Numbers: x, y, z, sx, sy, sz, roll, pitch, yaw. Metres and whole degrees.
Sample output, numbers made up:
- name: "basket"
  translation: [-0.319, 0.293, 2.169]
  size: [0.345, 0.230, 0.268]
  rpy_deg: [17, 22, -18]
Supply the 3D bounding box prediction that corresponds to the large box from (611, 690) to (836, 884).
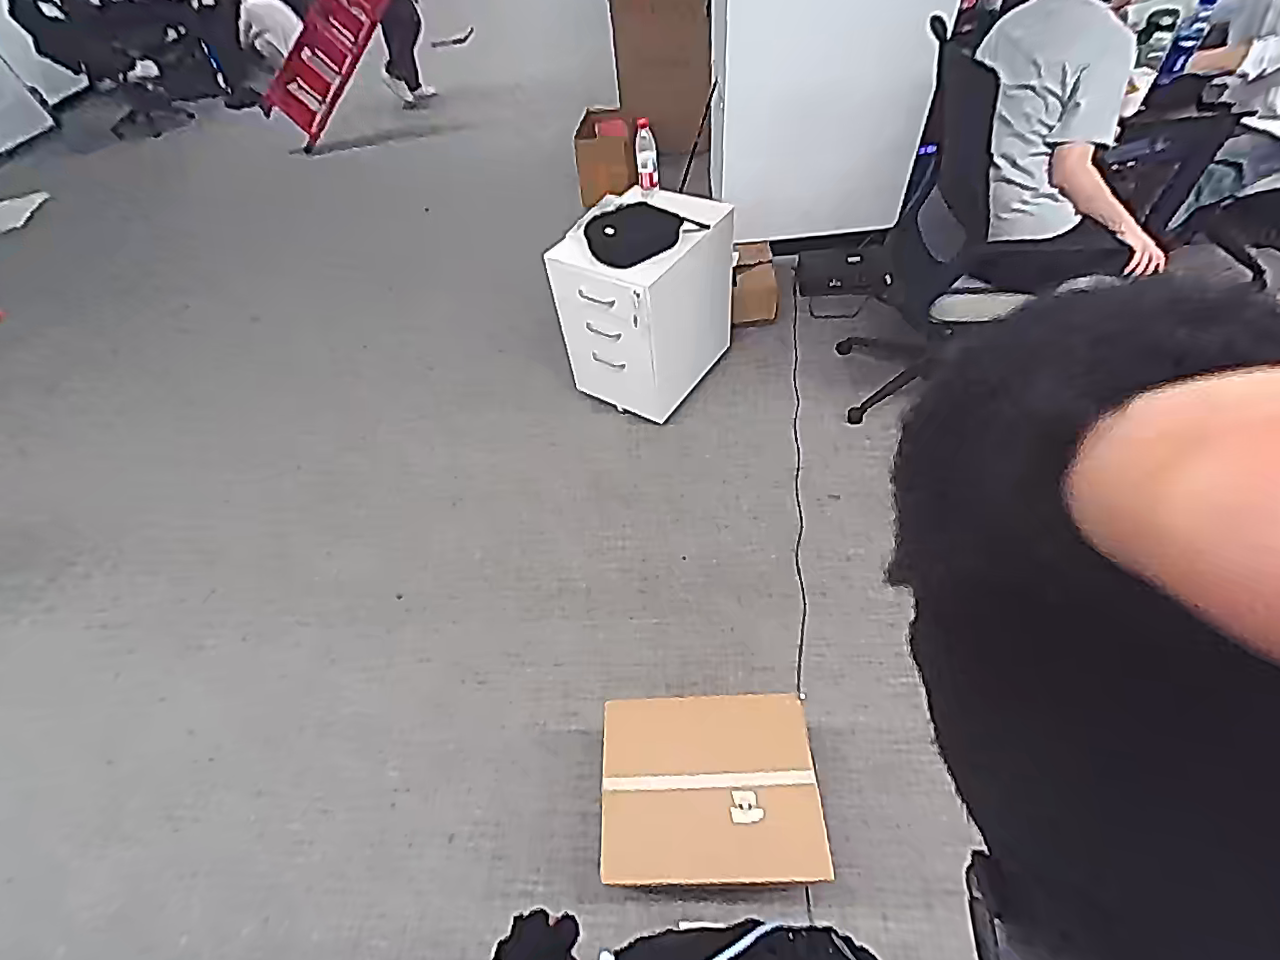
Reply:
- name: "large box"
  translation: [0.155, 0.659, 1.152]
  size: [0.408, 0.320, 0.320]
  rpy_deg: [-3, 52, 4]
